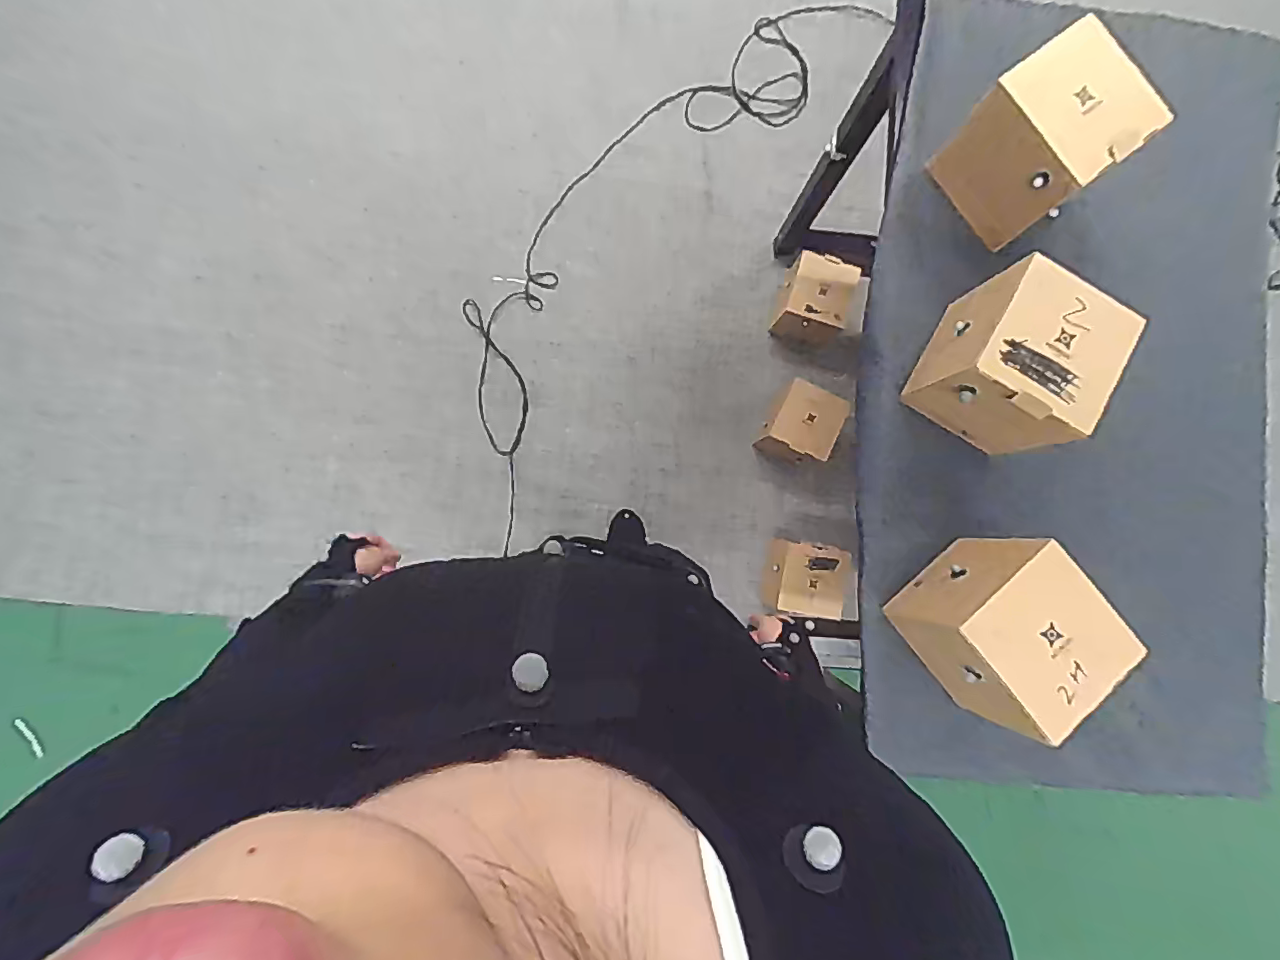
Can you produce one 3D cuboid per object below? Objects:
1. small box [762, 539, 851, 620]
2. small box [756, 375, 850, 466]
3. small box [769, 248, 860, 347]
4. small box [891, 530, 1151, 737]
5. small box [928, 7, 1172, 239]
[{"bbox_3d":[0.430,0.255,1.422,0.168,0.176,0.179,11,86,-2],"label":"small box"},{"bbox_3d":[0.428,-0.151,1.456,0.168,0.176,0.179,25,83,-2],"label":"small box"},{"bbox_3d":[0.471,-0.494,1.486,0.168,0.176,0.179,17,84,-1],"label":"small box"},{"bbox_3d":[0.468,0.183,0.694,0.168,0.176,0.179,-39,89,-8],"label":"small box"},{"bbox_3d":[0.554,-0.483,0.759,0.168,0.176,0.179,-37,88,-5],"label":"small box"}]
